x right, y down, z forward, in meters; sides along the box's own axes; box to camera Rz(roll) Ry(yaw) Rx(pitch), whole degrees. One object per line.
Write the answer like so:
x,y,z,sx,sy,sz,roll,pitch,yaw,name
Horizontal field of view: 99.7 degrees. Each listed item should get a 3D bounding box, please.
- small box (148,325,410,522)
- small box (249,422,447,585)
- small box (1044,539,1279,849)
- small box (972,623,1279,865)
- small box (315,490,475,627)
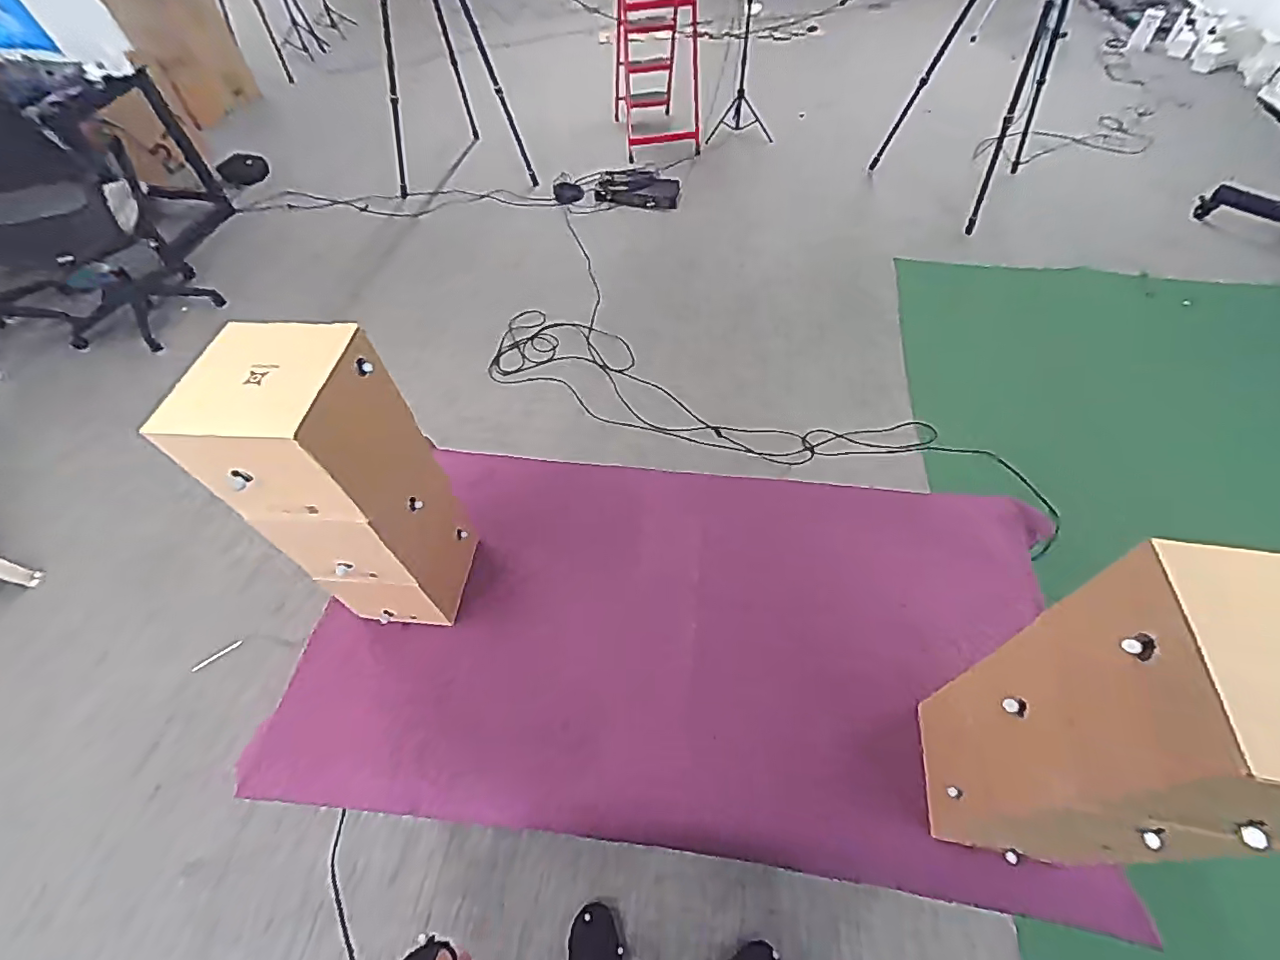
-0.405,-0.064,0.649,0.168,0.176,0.179,2,54,5,small box
-0.399,0.031,0.780,0.168,0.176,0.179,3,55,5,small box
0.468,0.173,0.434,0.168,0.176,0.179,7,54,9,small box
0.475,0.276,0.563,0.168,0.176,0.179,8,53,9,small box
-0.394,0.128,0.912,0.168,0.176,0.179,3,55,5,small box
